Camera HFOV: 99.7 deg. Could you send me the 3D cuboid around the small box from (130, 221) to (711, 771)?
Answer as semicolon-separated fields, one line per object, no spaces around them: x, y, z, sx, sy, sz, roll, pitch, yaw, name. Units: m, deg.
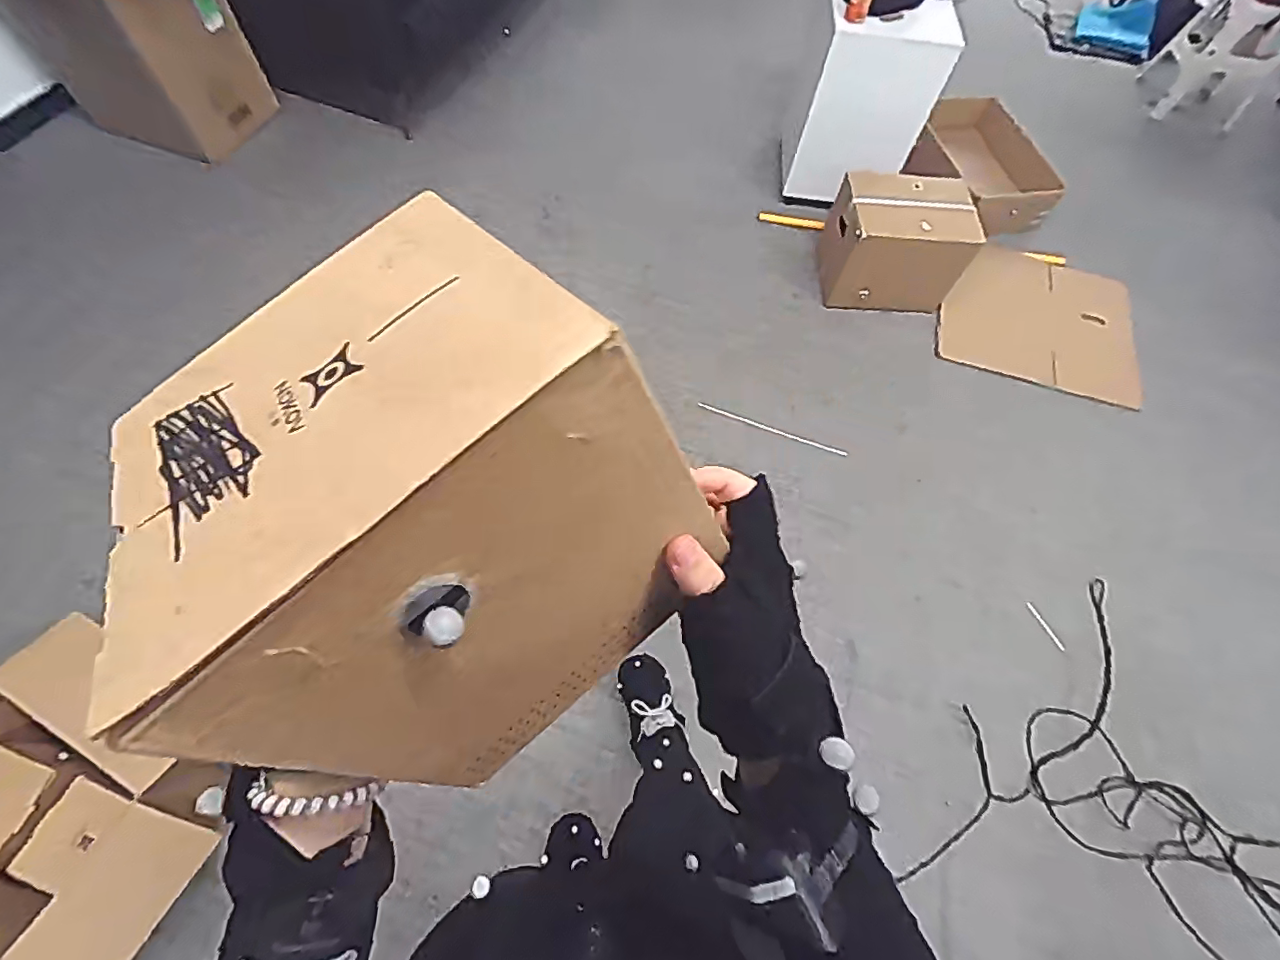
-0.091;0.015;0.270;0.179;0.176;0.168;-42;51;-5;small box
